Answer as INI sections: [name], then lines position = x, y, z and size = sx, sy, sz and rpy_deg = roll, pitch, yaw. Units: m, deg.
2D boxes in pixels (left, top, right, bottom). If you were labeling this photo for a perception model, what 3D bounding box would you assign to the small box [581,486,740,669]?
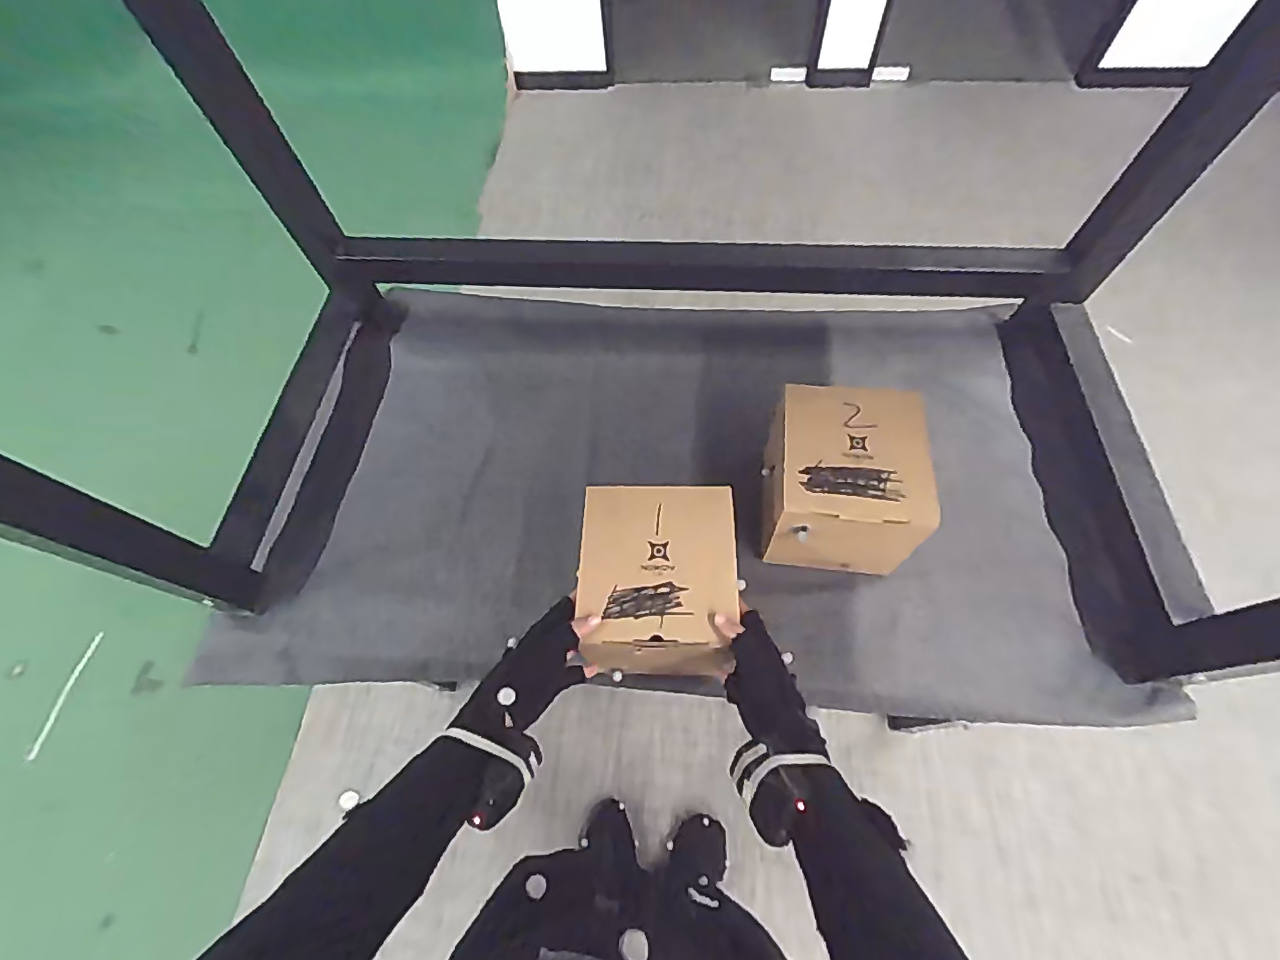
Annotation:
[small box]
position = 0.029, 0.123, 0.652
size = 0.168, 0.176, 0.179
rpy_deg = 0, 59, 4
